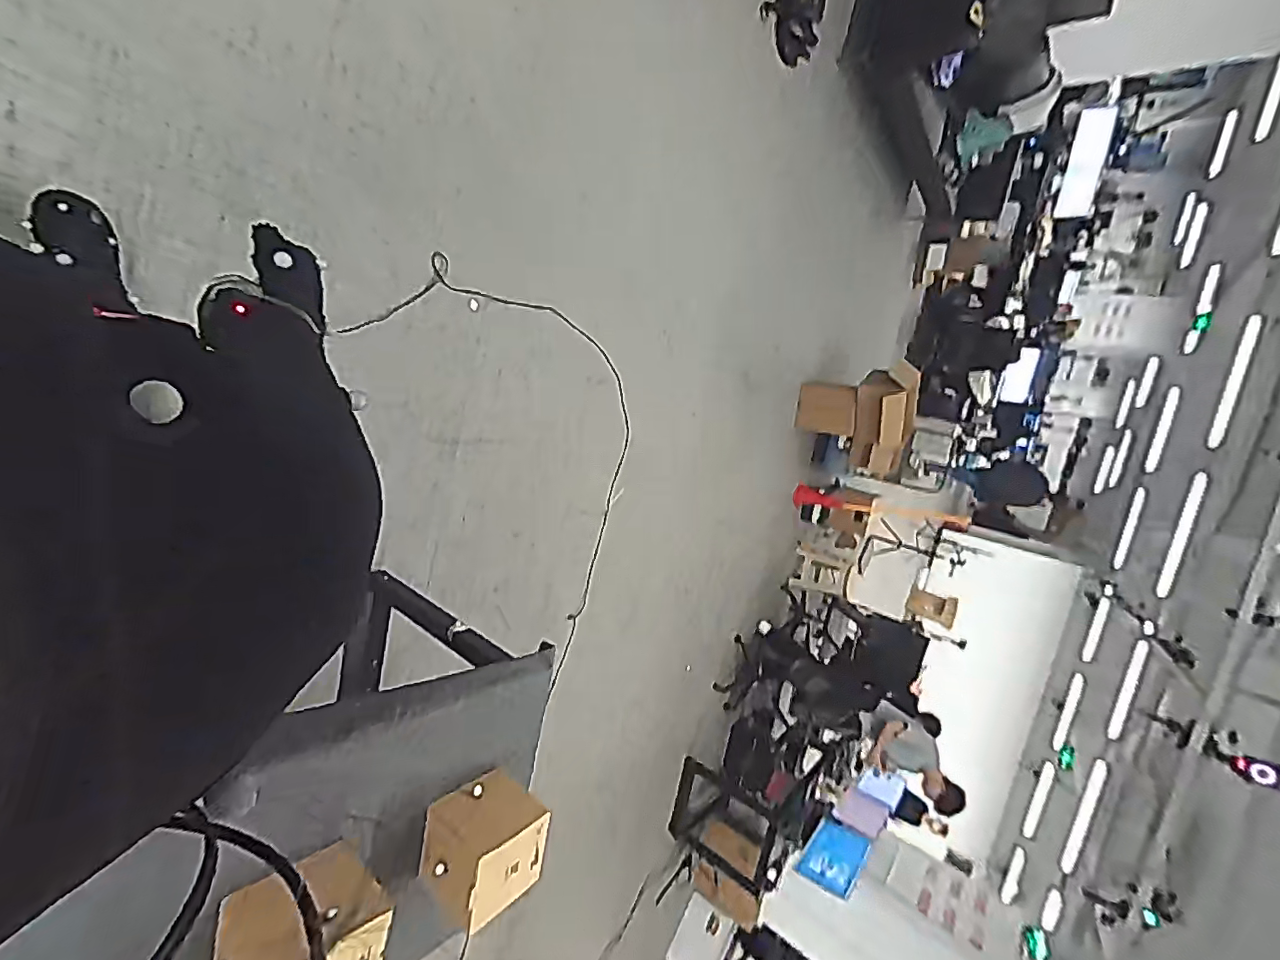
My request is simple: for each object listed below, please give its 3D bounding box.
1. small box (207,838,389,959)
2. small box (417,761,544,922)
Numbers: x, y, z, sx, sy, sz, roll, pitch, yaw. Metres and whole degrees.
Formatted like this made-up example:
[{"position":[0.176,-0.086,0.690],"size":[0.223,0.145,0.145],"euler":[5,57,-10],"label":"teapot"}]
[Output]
[{"position":[-0.515,0.694,0.816],"size":[0.179,0.176,0.168],"euler":[2,102,-54],"label":"small box"},{"position":[-0.323,0.713,1.089],"size":[0.179,0.176,0.168],"euler":[-2,106,-53],"label":"small box"}]
